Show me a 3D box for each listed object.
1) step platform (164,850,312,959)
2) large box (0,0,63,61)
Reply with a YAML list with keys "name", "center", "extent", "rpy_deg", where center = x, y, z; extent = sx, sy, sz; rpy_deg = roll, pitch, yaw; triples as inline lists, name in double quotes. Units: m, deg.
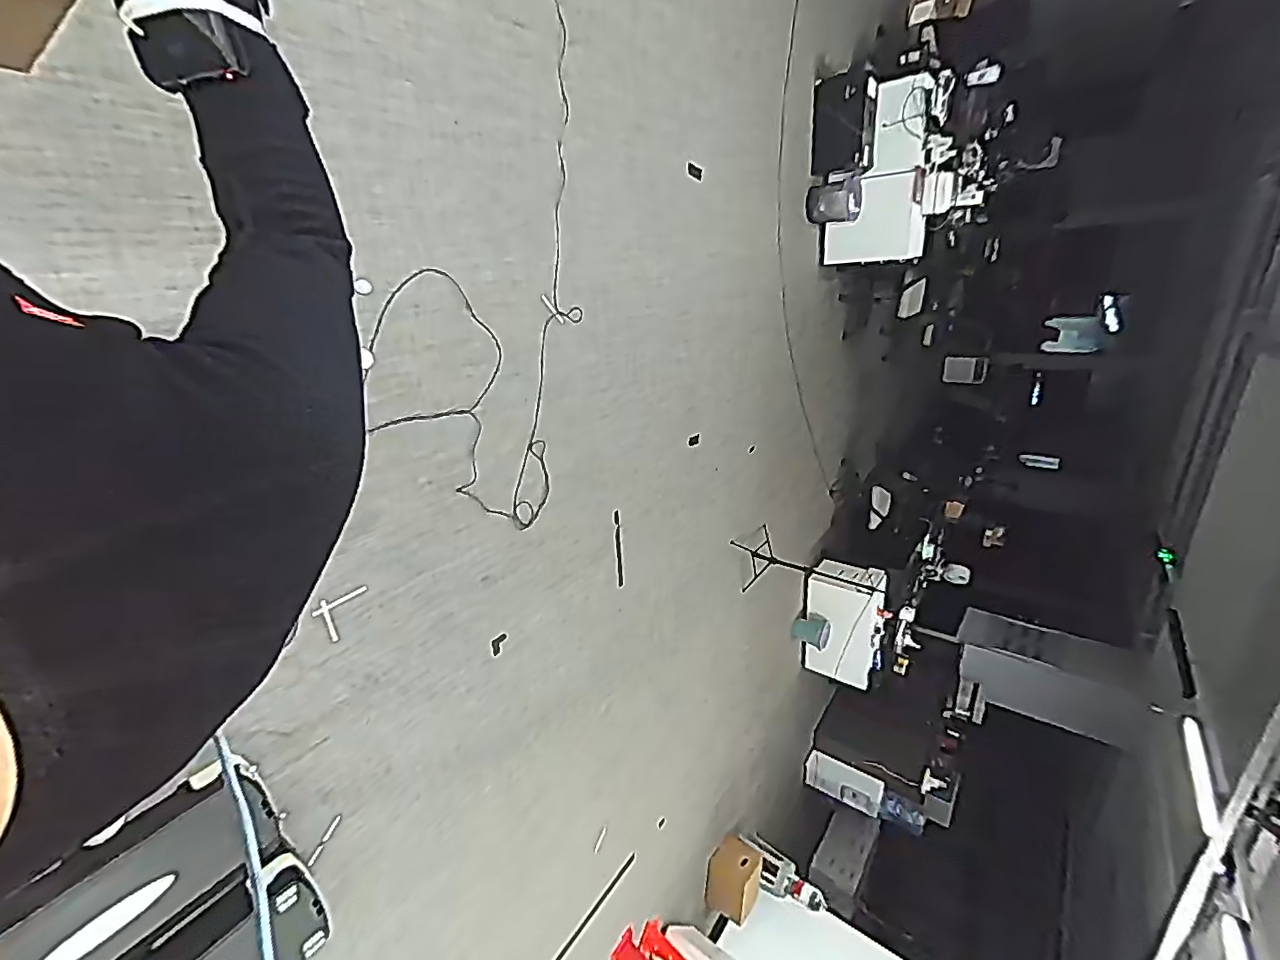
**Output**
- name: "step platform"
  center: [-1.151, 1.246, 1.236]
  extent: [0.684, 0.204, 0.286]
  rpy_deg: [-30, 123, -44]
- name: "large box"
  center: [-0.557, -0.441, 0.211]
  extent: [0.408, 0.320, 0.320]
  rpy_deg: [-20, 120, -50]
